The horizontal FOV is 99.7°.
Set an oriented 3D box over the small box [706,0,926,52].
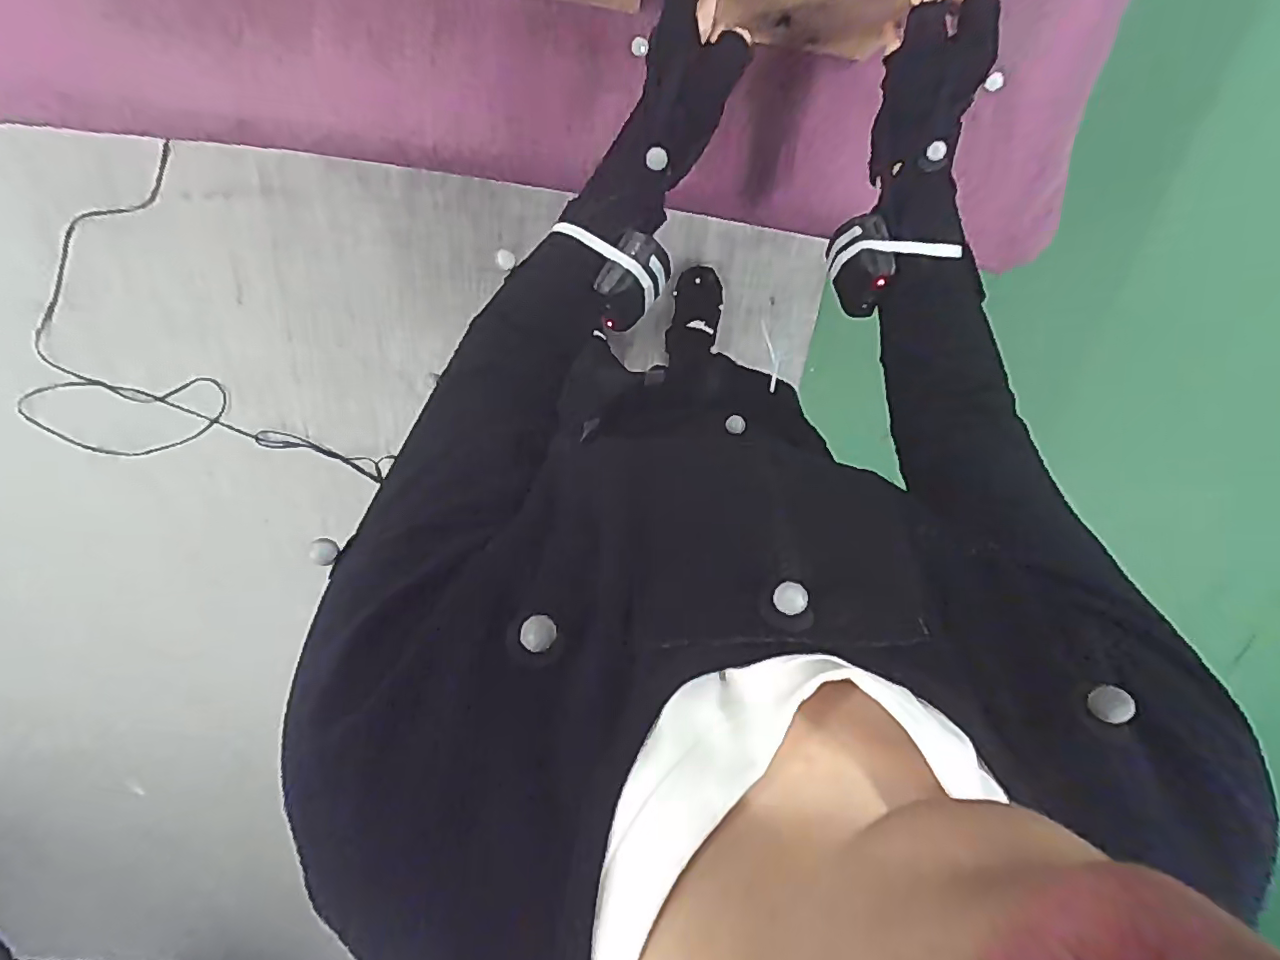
[{"bbox_3d":[0.151,-0.478,0.425,0.168,0.176,0.179,7,116,-2],"label":"small box"}]
